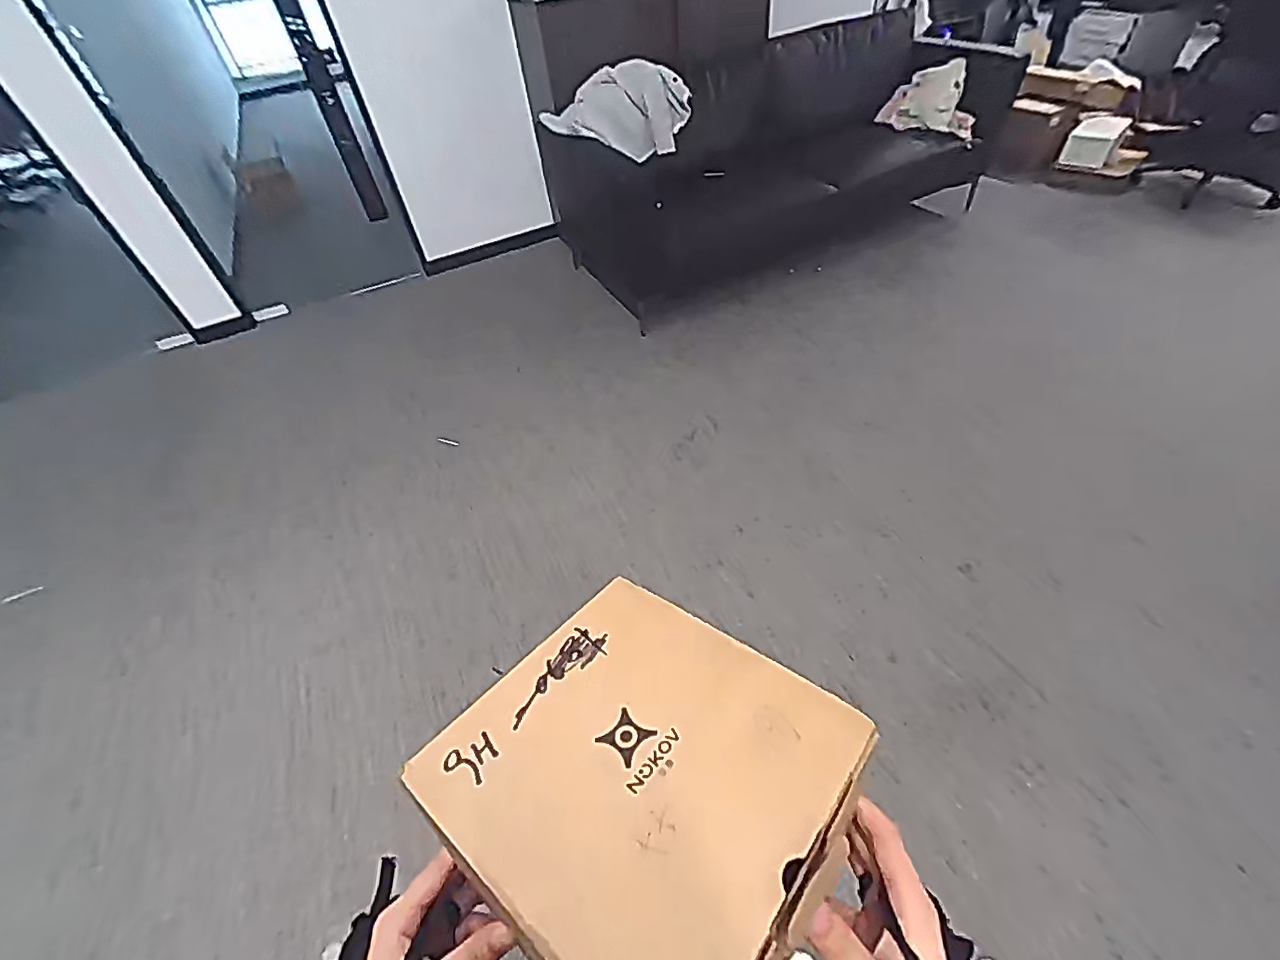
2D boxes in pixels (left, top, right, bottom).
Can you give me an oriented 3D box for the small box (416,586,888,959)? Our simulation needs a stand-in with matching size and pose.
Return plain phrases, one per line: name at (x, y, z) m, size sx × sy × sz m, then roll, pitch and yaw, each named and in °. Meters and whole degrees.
small box at (0.010, 0.203, 0.313) m, size 0.179 × 0.176 × 0.168 m, roll 25°, pitch 44°, yaw 35°
